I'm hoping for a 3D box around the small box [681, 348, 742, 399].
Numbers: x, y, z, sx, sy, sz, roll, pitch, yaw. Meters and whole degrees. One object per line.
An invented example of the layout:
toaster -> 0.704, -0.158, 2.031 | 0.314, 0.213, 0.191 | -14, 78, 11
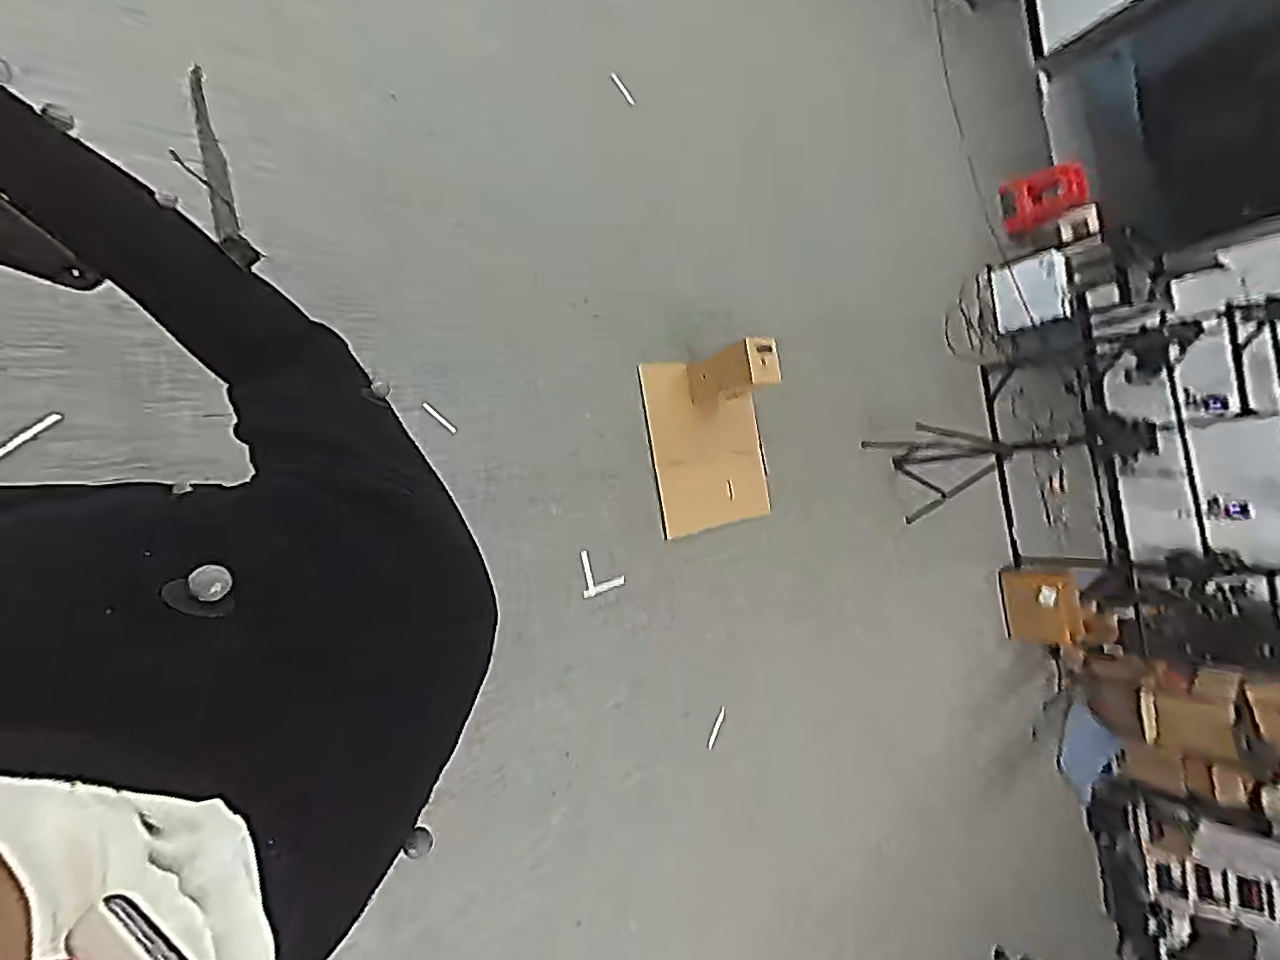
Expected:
small box -> 0.288, -0.429, 2.208 | 0.168, 0.176, 0.179 | -11, 90, -36
